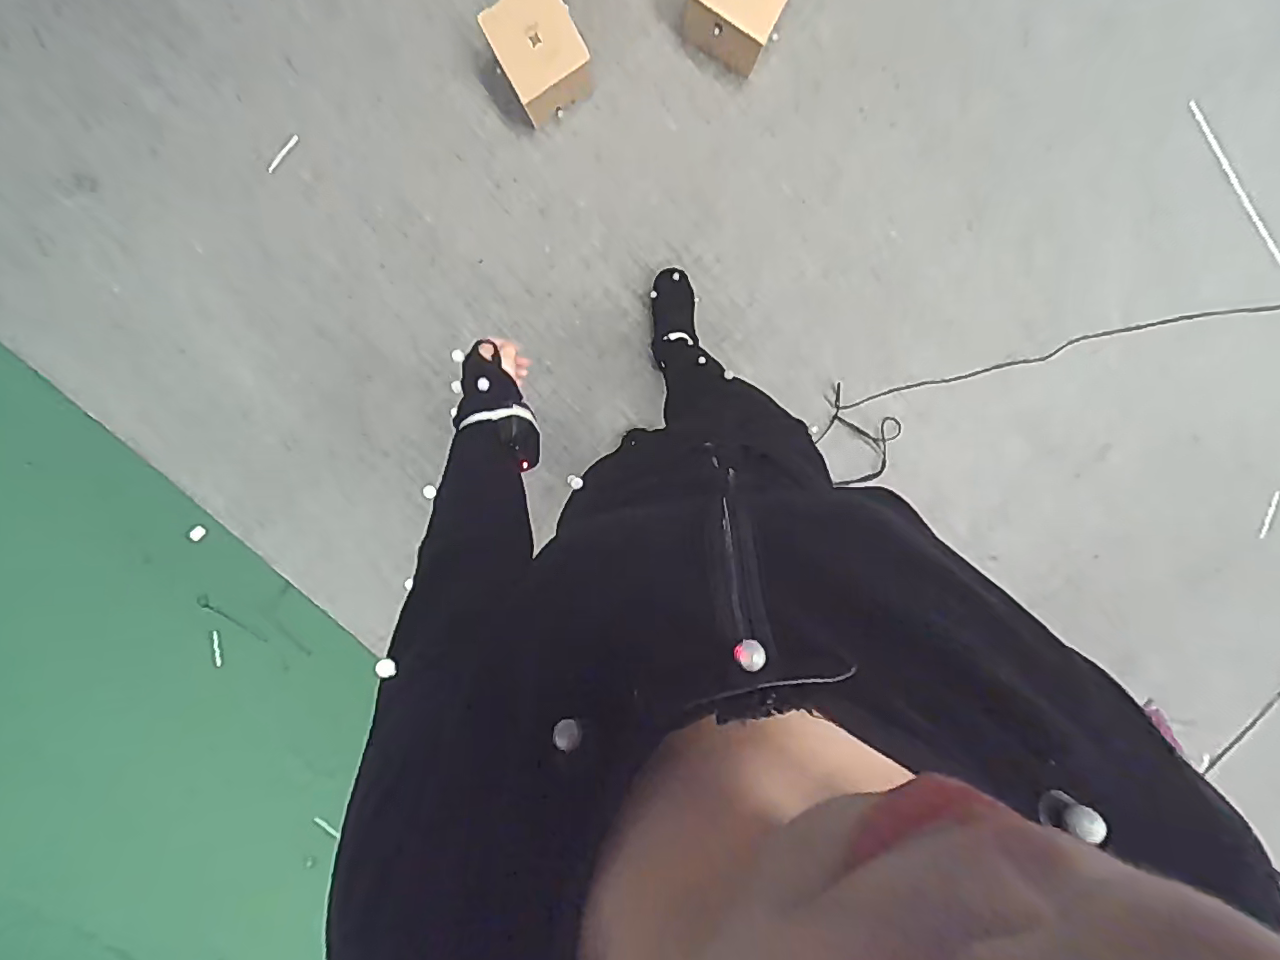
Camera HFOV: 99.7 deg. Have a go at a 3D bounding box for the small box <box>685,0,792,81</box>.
[{"bbox_3d":[0.209,-0.991,1.136,0.179,0.176,0.168,28,104,-8],"label":"small box"}]

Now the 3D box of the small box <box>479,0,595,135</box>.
[{"bbox_3d":[-0.212,-0.892,1.160,0.168,0.176,0.179,-29,103,8],"label":"small box"}]
